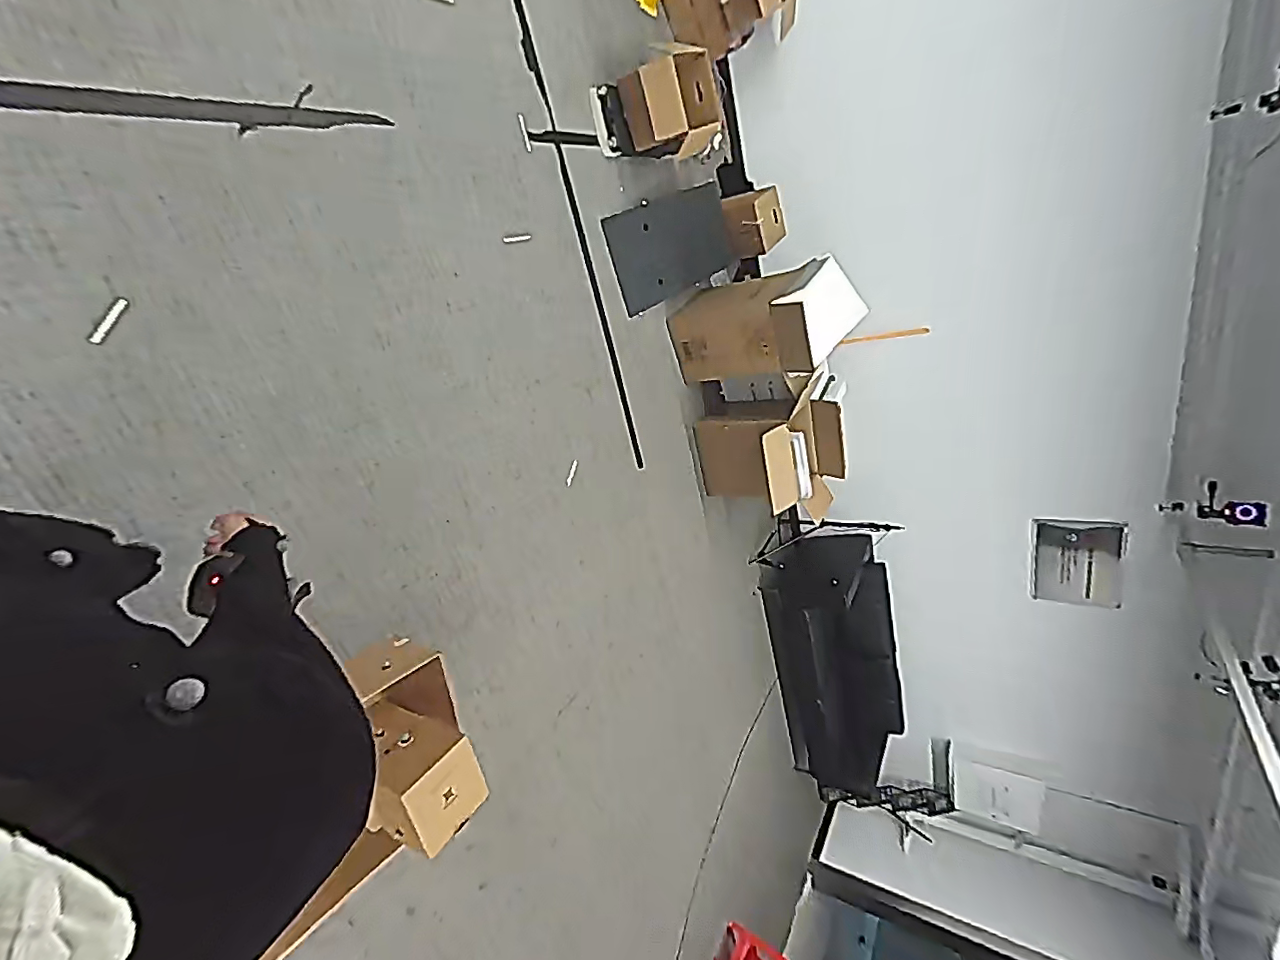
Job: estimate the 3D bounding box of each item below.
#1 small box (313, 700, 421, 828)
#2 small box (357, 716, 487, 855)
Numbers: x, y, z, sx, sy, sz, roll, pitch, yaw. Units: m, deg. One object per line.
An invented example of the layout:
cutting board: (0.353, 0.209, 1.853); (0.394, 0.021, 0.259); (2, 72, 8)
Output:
small box: (-0.606, 0.640, 1.245); (0.179, 0.176, 0.168); (-32, 117, -50)
small box: (-0.466, 0.643, 1.160); (0.168, 0.176, 0.179); (-36, 121, -50)
